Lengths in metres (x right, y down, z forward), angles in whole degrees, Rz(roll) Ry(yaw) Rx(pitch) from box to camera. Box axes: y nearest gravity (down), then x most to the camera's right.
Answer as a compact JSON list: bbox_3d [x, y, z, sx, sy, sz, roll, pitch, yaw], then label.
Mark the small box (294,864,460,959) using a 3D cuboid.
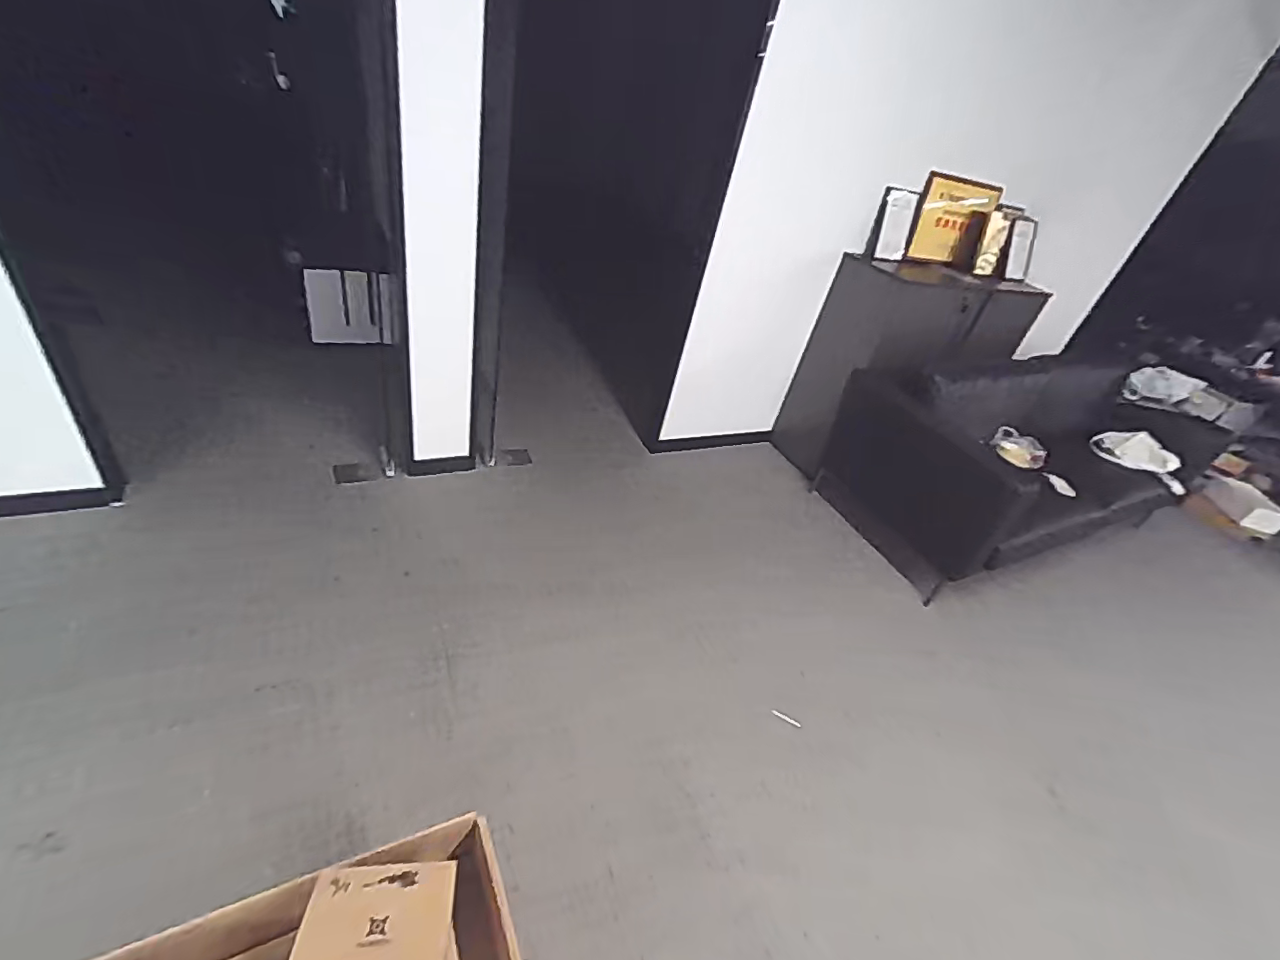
[{"bbox_3d":[-0.314,0.602,0.638,0.168,0.176,0.179,7,16,-14],"label":"small box"}]
